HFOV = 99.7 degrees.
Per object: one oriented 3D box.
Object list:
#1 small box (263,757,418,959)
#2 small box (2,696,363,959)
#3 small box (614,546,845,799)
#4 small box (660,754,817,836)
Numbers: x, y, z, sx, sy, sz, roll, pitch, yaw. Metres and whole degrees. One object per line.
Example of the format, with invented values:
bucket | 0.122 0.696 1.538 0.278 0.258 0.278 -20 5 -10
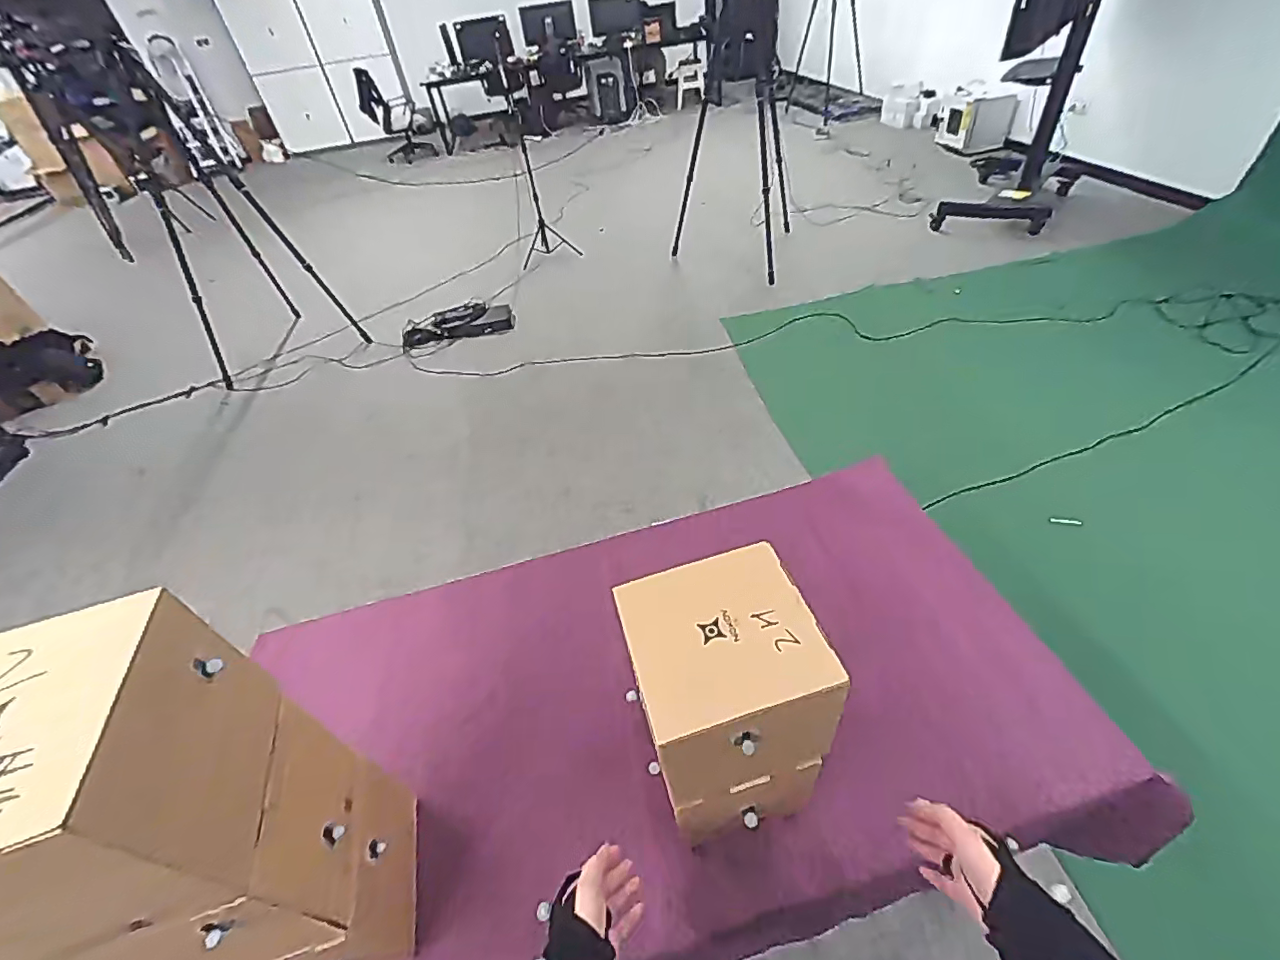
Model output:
small box | -0.366 0.455 0.615 0.168 0.176 0.179 -15 43 -8
small box | -0.388 0.339 0.503 0.179 0.176 0.168 -16 44 -9
small box | 0.085 0.202 0.562 0.179 0.176 0.168 -15 44 -6
small box | 0.101 0.320 0.678 0.168 0.176 0.179 -14 45 -6
